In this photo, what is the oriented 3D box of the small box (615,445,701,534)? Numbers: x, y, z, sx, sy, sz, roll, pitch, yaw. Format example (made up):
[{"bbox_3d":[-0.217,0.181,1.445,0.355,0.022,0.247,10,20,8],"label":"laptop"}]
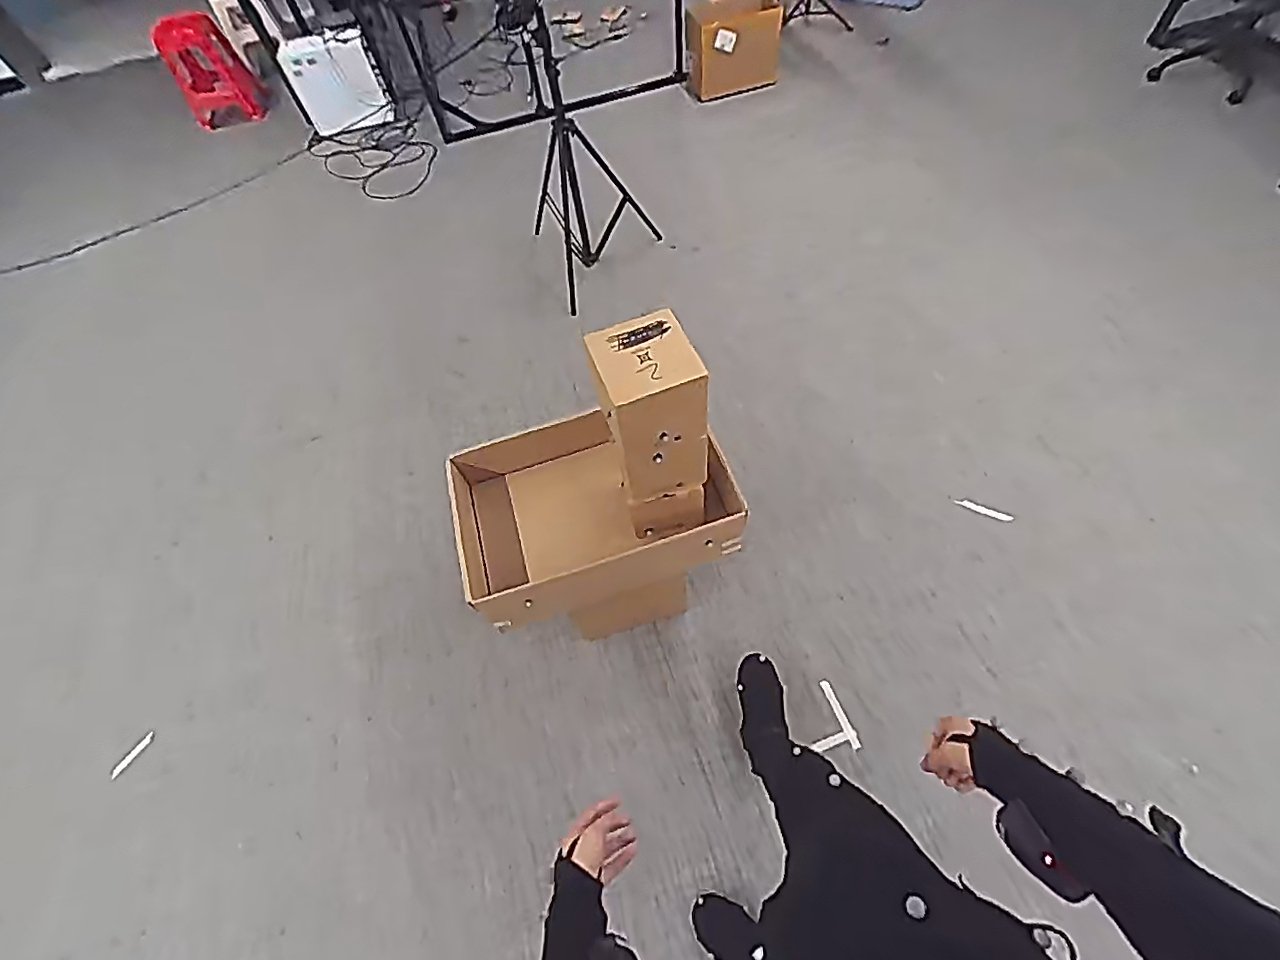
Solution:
[{"bbox_3d":[0.044,0.012,1.249,0.168,0.176,0.179,-12,58,-2],"label":"small box"}]

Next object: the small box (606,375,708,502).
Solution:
[{"bbox_3d":[0.035,-0.081,1.115,0.168,0.176,0.179,-15,58,-3],"label":"small box"}]
